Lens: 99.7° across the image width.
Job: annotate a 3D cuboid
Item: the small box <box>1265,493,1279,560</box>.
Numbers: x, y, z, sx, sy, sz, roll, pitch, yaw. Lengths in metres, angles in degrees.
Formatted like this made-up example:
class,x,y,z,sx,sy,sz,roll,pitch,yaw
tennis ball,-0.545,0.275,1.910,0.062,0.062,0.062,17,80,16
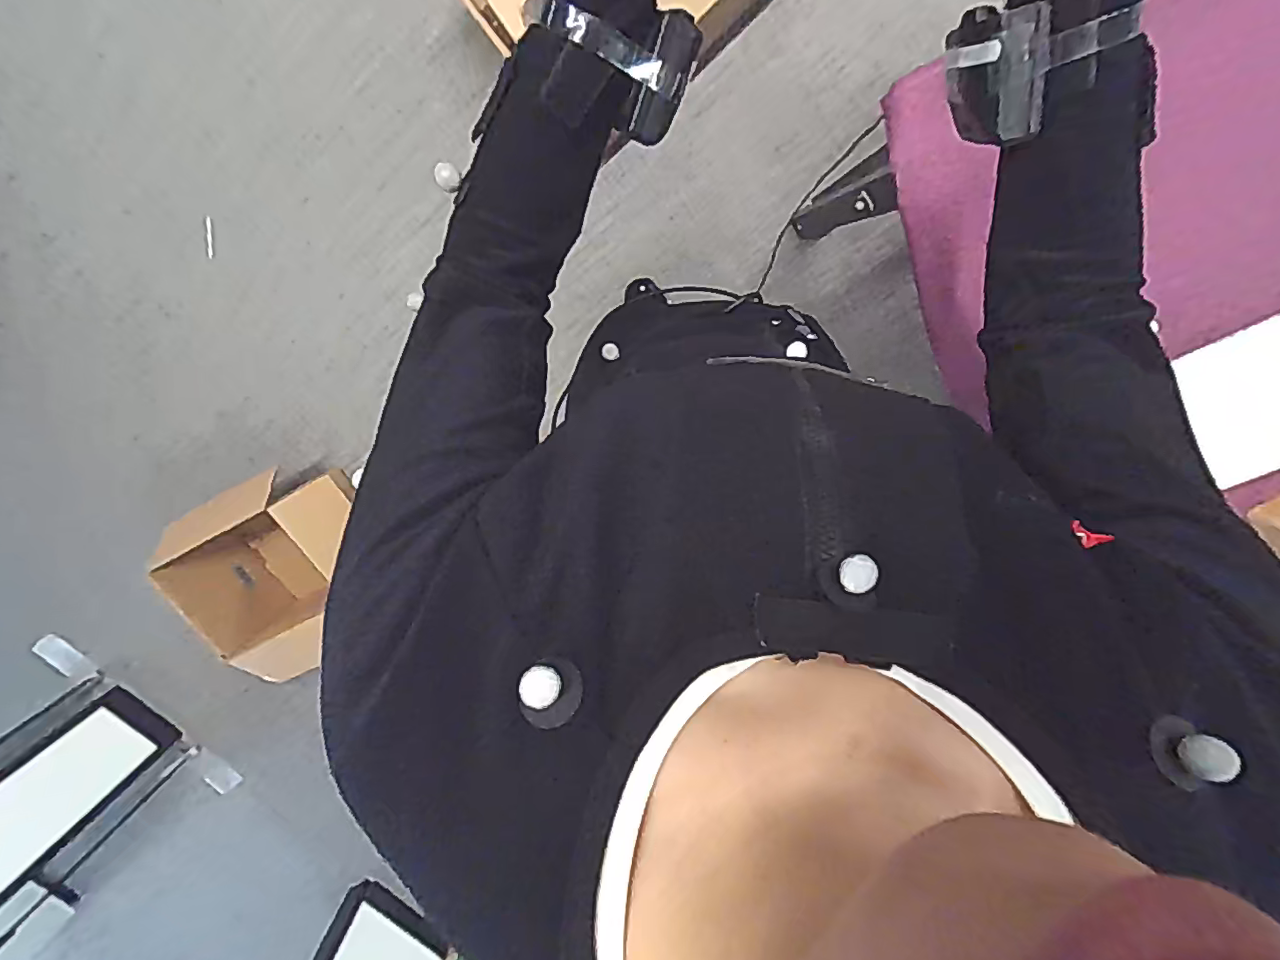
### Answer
class,x,y,z,sx,sy,sz,roll,pitch,yaw
small box,0.909,0.076,0.630,0.179,0.176,0.168,-36,104,15
